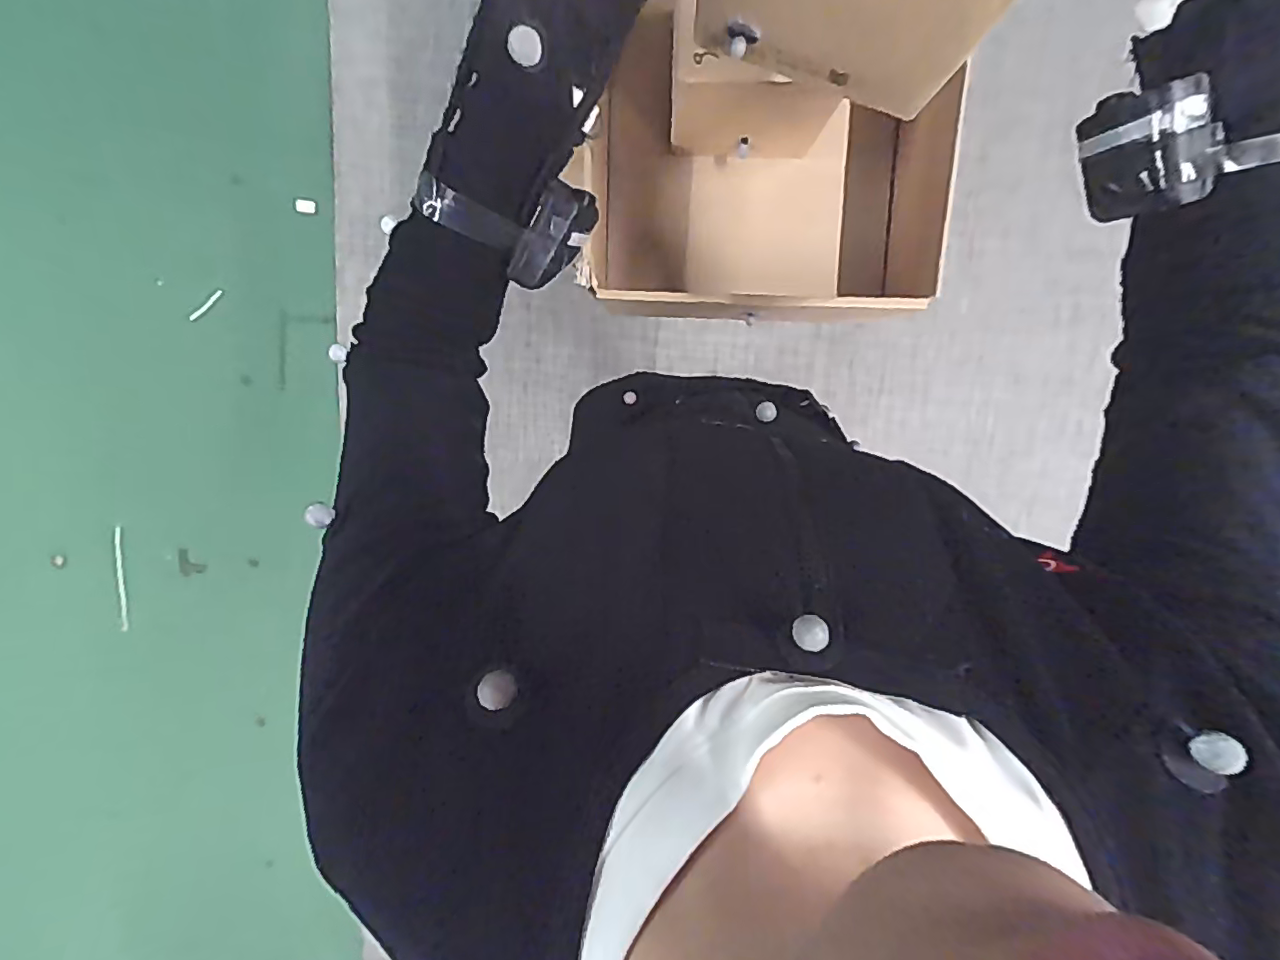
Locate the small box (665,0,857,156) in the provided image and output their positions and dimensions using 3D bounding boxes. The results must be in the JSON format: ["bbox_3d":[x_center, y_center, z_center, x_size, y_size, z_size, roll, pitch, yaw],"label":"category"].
[{"bbox_3d":[0.123,-0.484,0.600,0.179,0.176,0.168,2,98,-1],"label":"small box"}]
